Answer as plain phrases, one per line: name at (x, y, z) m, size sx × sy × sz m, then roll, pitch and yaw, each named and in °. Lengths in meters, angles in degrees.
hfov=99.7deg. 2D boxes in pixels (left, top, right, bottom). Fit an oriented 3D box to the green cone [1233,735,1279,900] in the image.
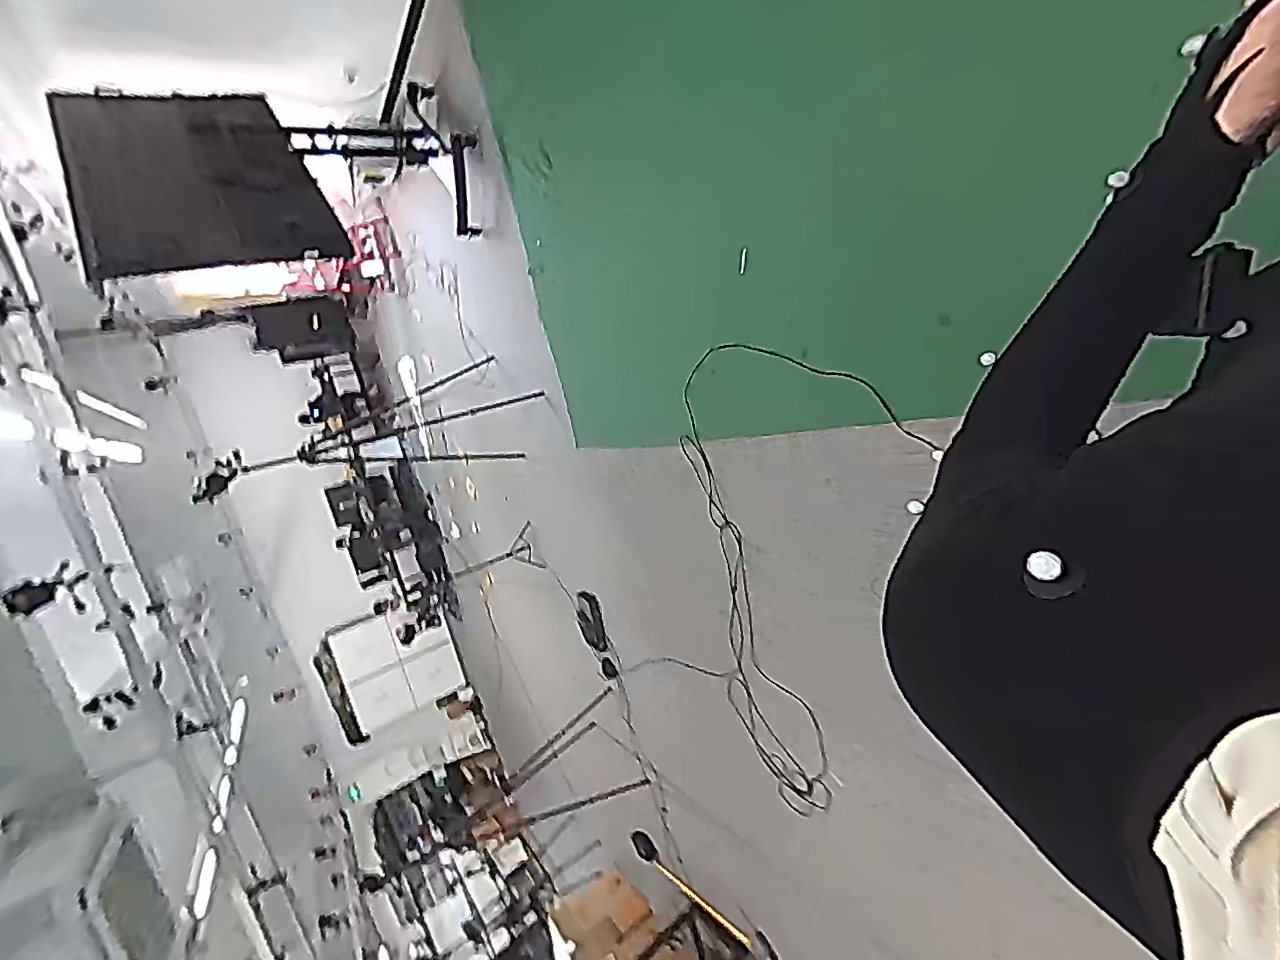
green cone at (1.382, 0.756, 1.157) m, size 0.202 × 0.368 × 0.200 m, roll 1°, pitch 108°, yaw 57°
